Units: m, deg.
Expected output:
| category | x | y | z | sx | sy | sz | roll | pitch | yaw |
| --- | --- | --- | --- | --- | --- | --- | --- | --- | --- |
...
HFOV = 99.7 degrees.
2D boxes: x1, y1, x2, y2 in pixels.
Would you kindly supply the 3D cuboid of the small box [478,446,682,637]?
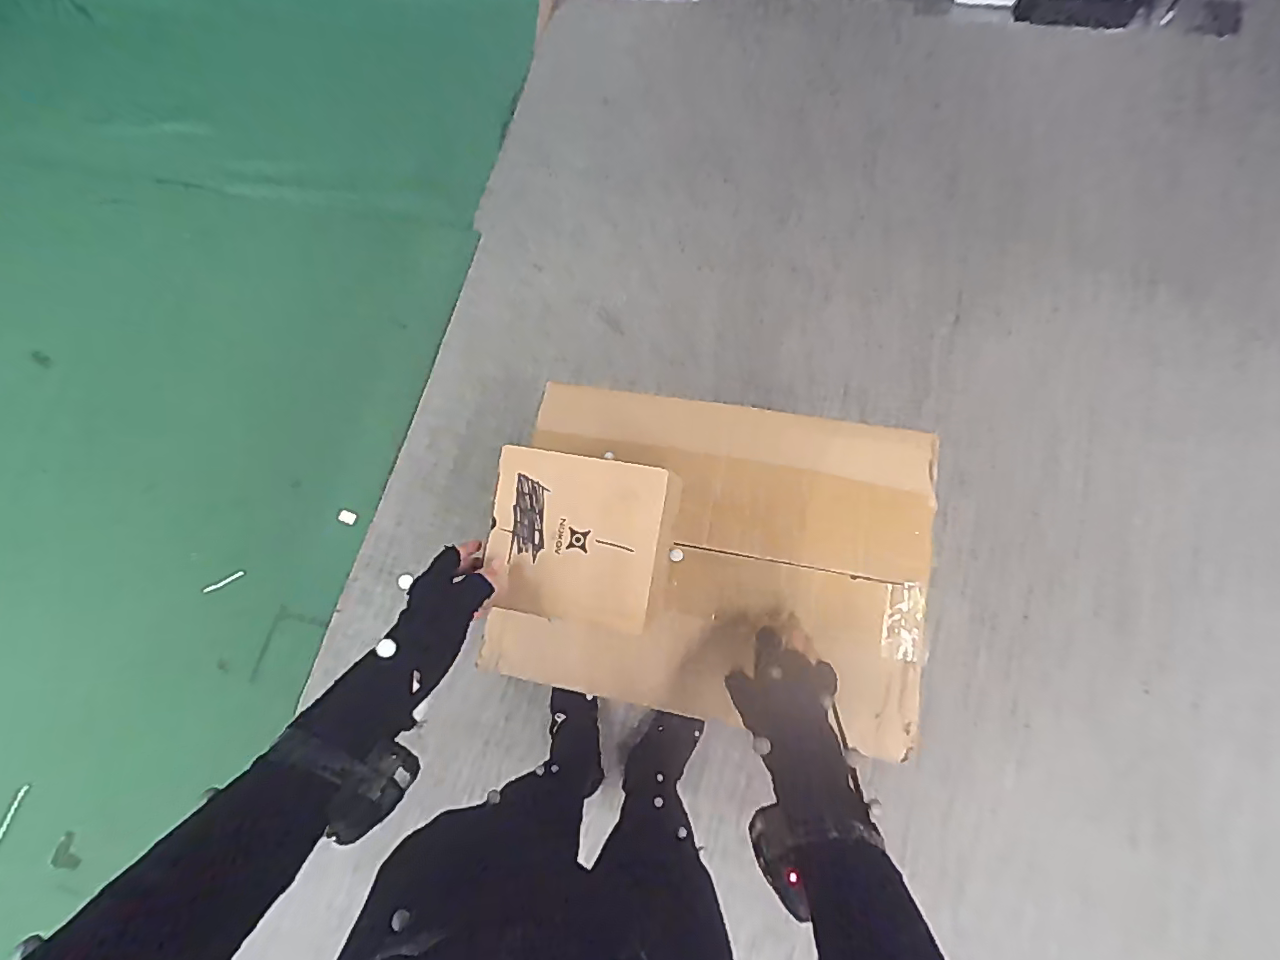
| category | x | y | z | sx | sy | sz | roll | pitch | yaw |
| --- | --- | --- | --- | --- | --- | --- | --- | --- | --- |
| small box | -0.055 | 0.066 | 0.616 | 0.179 | 0.176 | 0.168 | 9 | 87 | 9 |
